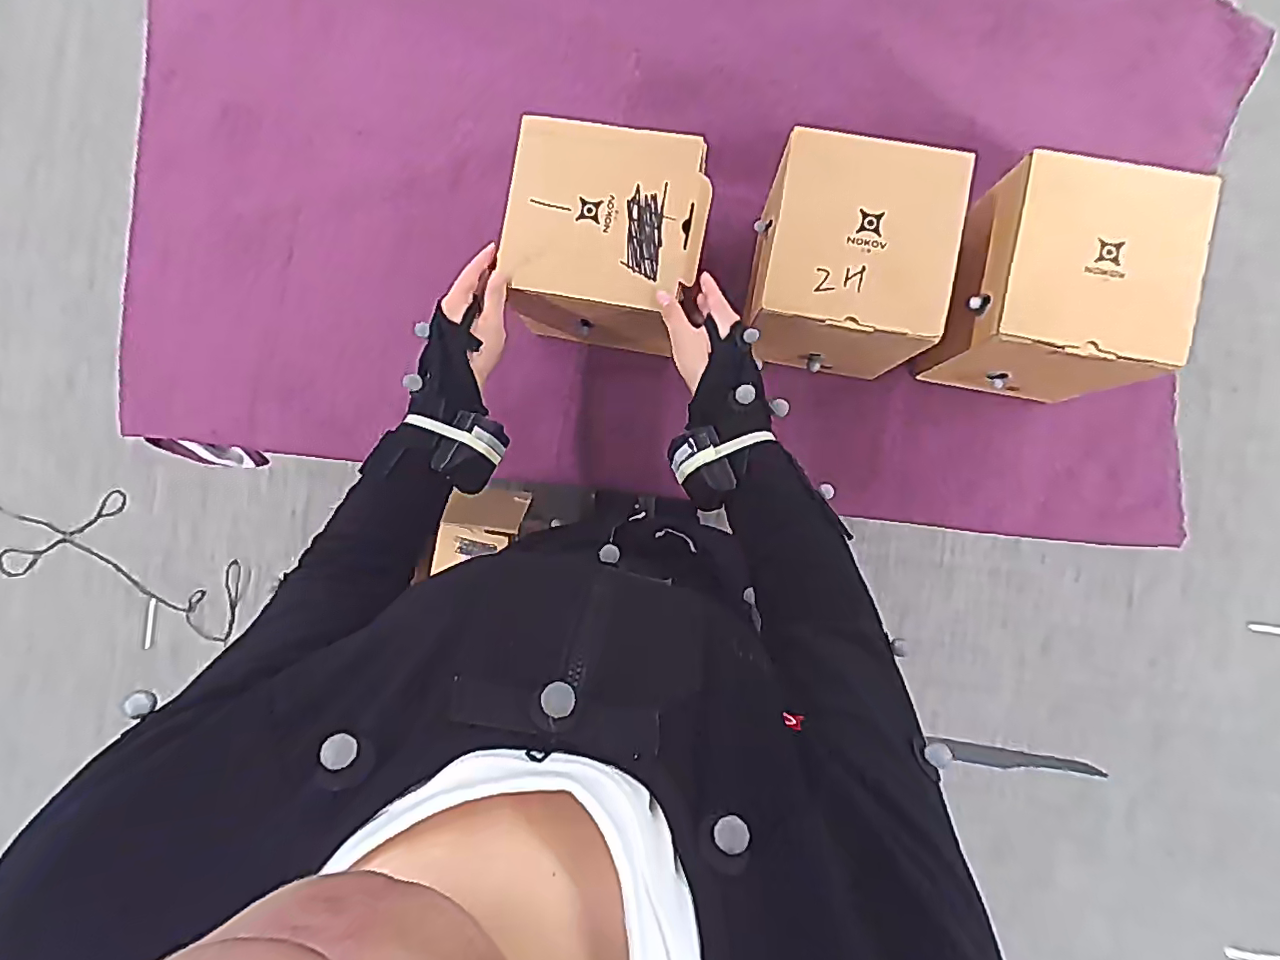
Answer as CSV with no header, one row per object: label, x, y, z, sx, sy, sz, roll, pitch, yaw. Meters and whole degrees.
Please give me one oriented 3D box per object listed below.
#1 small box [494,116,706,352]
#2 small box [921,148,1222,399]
small box,-0.034,-0.245,0.581,0.179,0.176,0.168,10,90,4
small box,0.417,-0.194,0.555,0.168,0.176,0.179,11,89,4
